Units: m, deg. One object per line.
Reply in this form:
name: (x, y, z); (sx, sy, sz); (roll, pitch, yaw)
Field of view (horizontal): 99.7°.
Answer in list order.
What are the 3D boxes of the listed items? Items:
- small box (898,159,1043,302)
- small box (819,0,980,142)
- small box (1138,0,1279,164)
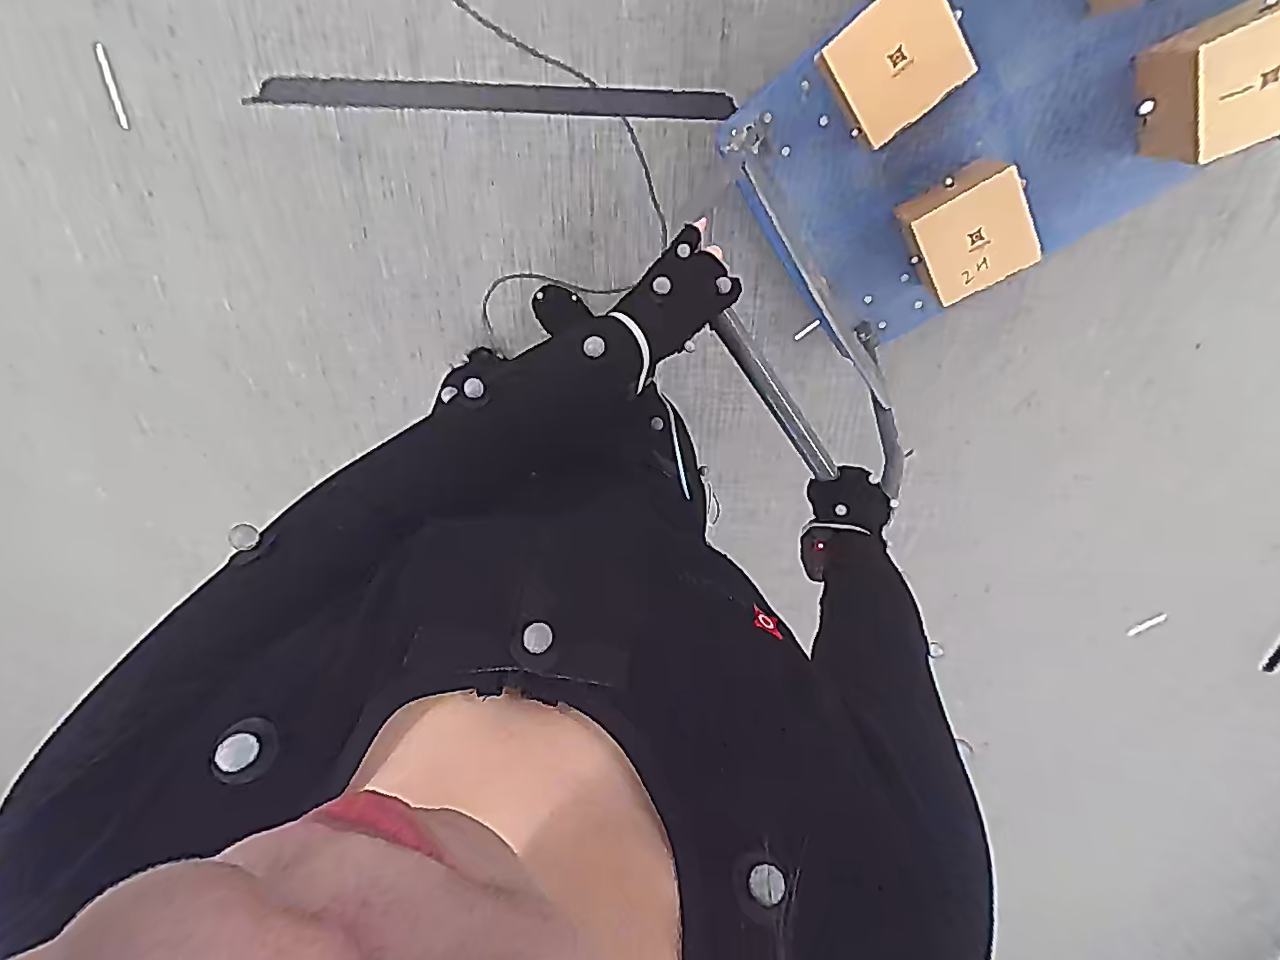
small box: (0.600, -0.466, 1.001); (0.168, 0.176, 0.179); (-24, 116, 27)
small box: (0.411, -0.693, 0.885); (0.168, 0.176, 0.179); (-31, 115, 29)
small box: (0.912, -0.617, 0.822); (0.179, 0.176, 0.168); (-17, 119, 25)
